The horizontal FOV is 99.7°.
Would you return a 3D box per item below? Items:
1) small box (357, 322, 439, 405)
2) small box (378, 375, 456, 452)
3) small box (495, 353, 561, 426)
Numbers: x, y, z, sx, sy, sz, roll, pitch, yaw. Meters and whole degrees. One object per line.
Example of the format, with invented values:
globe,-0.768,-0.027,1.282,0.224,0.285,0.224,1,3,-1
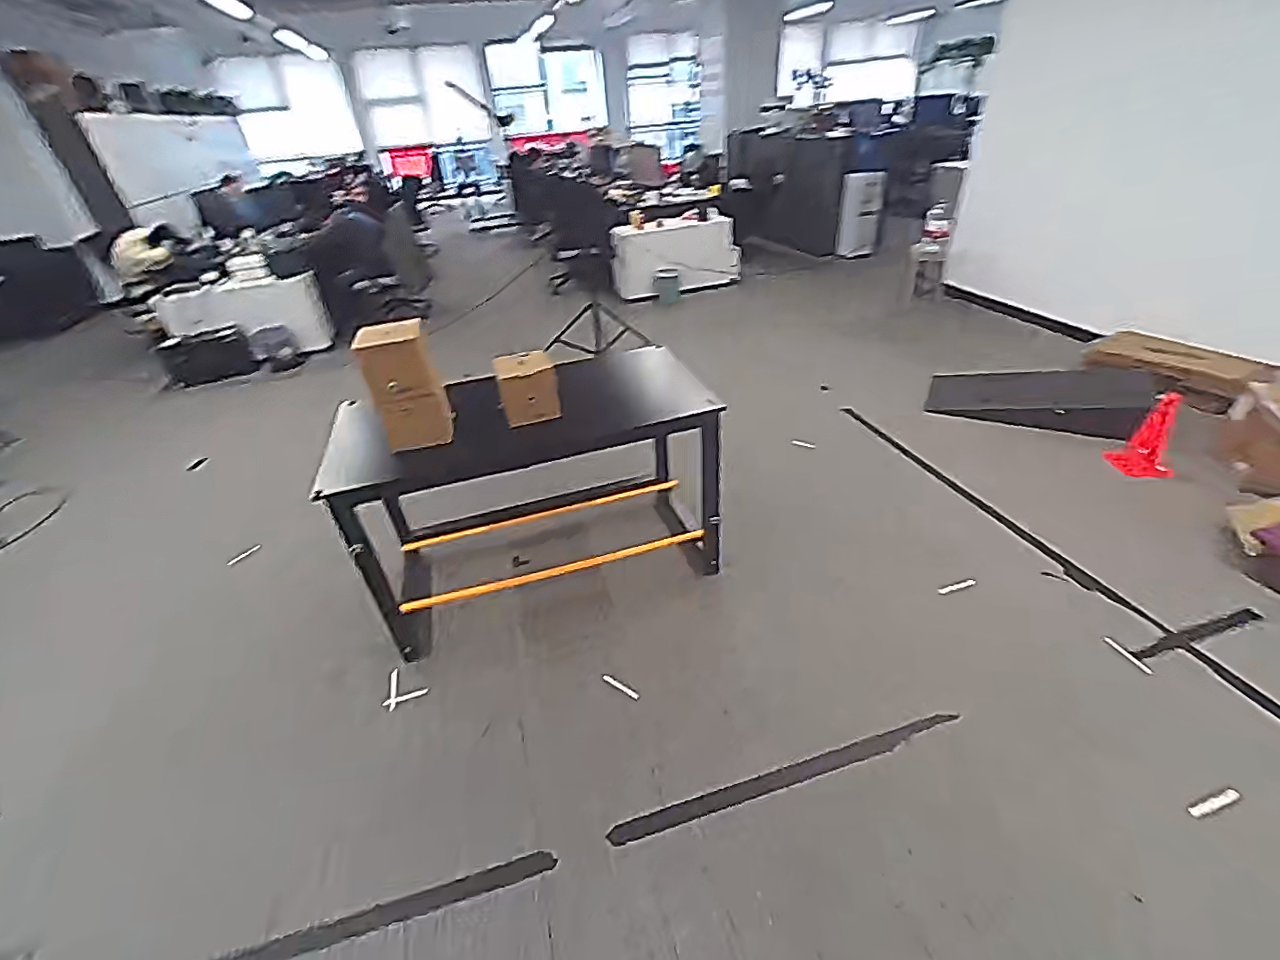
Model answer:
small box,-0.686,-0.334,1.552,0.168,0.176,0.179,-14,36,-11
small box,-0.672,-0.202,1.646,0.179,0.176,0.168,-12,35,-11
small box,-0.356,-0.285,1.729,0.168,0.176,0.179,-14,36,-13
